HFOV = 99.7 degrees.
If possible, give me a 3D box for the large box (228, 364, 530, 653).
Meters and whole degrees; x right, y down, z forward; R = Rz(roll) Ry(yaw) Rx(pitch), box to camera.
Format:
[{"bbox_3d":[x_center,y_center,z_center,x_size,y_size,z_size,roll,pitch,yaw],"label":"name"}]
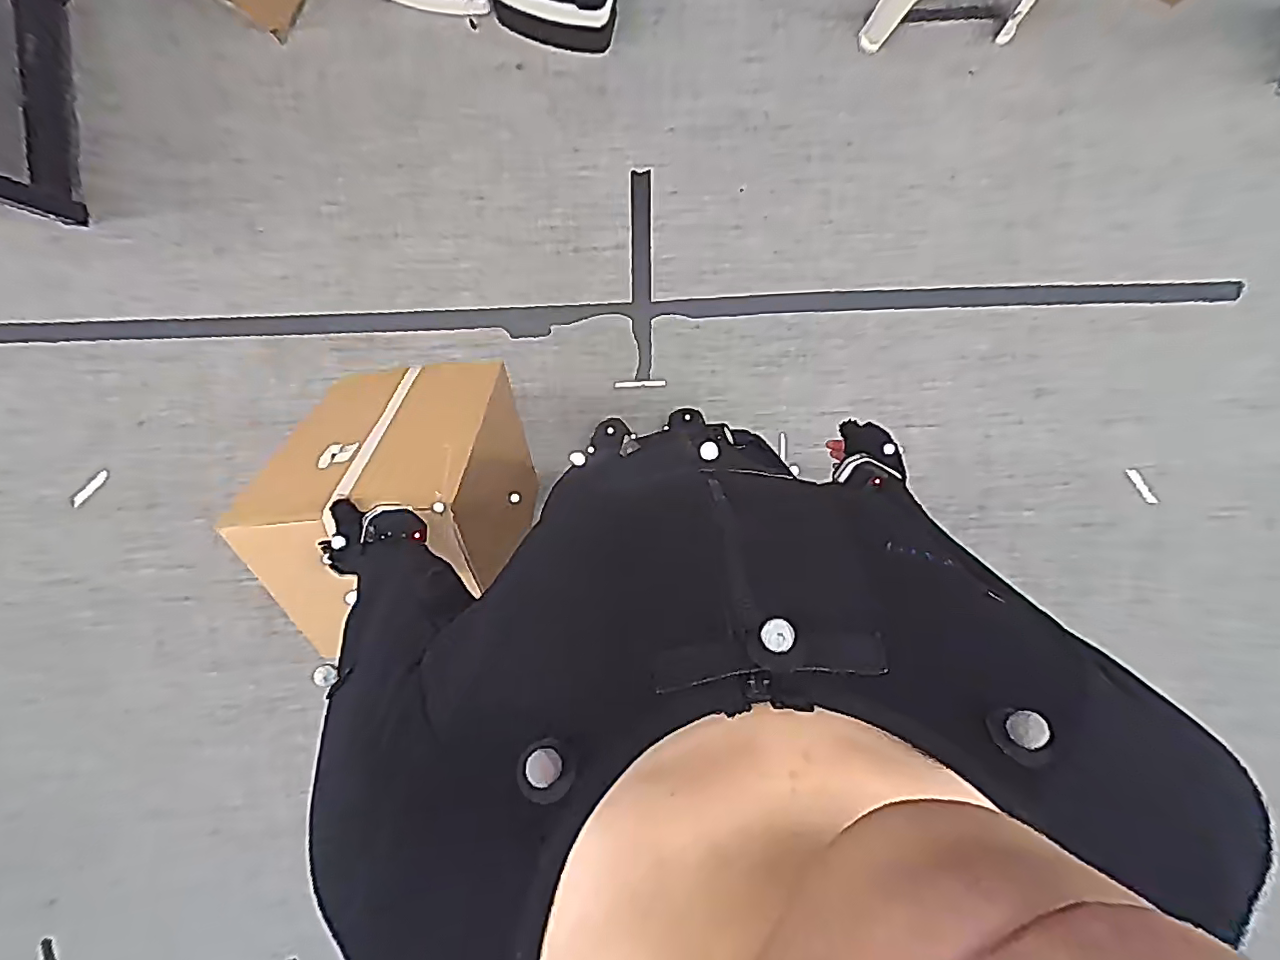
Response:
[{"bbox_3d":[-0.392,0.039,0.954,0.320,0.408,0.320,-6,131,2],"label":"large box"}]
